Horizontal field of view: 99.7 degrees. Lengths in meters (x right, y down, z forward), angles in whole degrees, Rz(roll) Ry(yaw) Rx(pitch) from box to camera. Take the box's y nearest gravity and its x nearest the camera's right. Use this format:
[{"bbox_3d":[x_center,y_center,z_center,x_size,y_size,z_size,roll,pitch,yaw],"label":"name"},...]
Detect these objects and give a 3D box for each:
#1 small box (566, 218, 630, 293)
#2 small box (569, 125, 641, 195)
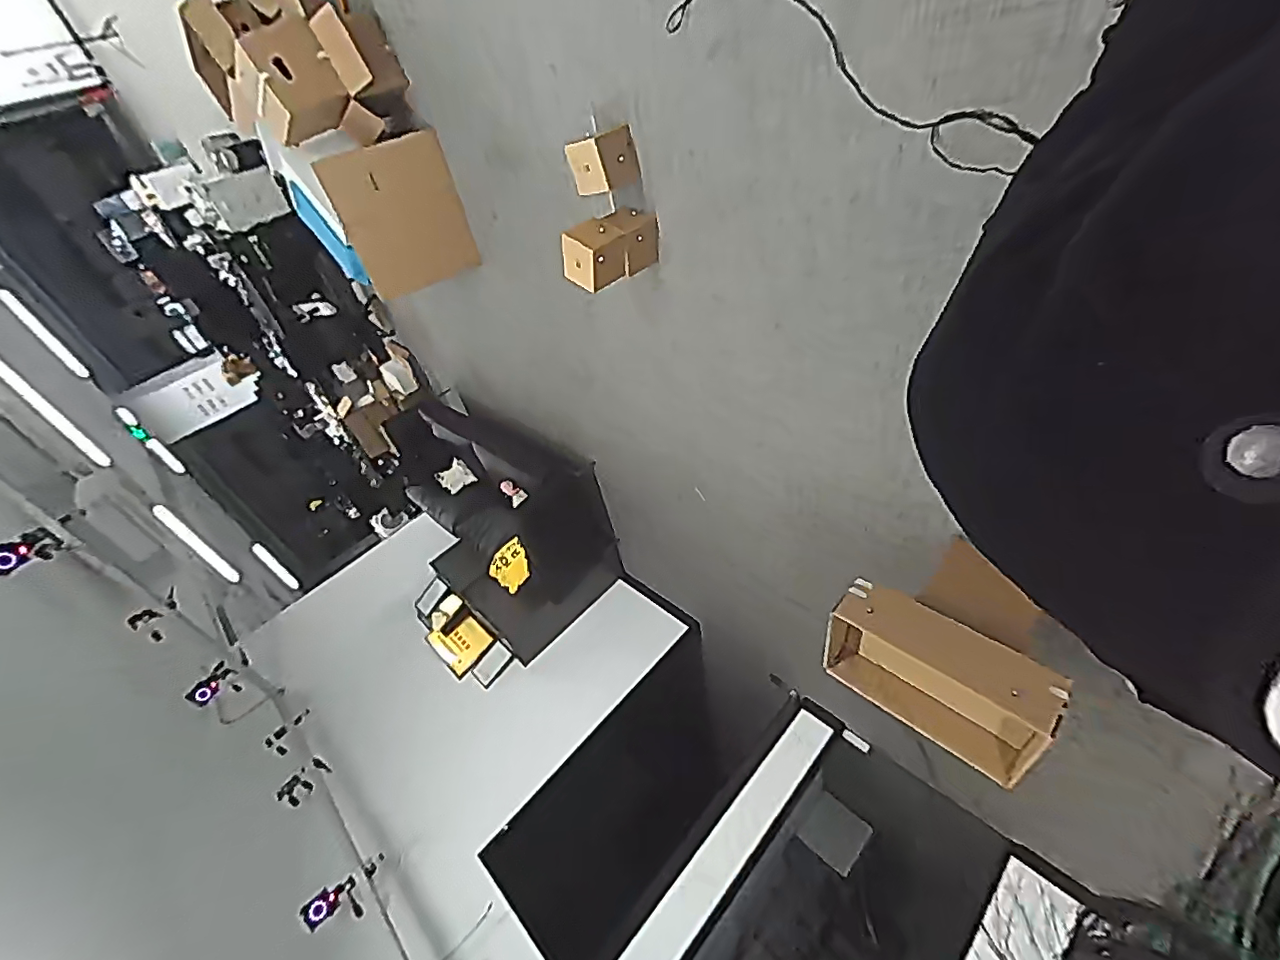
[{"bbox_3d":[-0.152,-0.838,2.010,0.168,0.176,0.179,39,151,24],"label":"small box"},{"bbox_3d":[-0.115,-1.137,1.922,0.179,0.176,0.168,23,143,44],"label":"small box"}]
